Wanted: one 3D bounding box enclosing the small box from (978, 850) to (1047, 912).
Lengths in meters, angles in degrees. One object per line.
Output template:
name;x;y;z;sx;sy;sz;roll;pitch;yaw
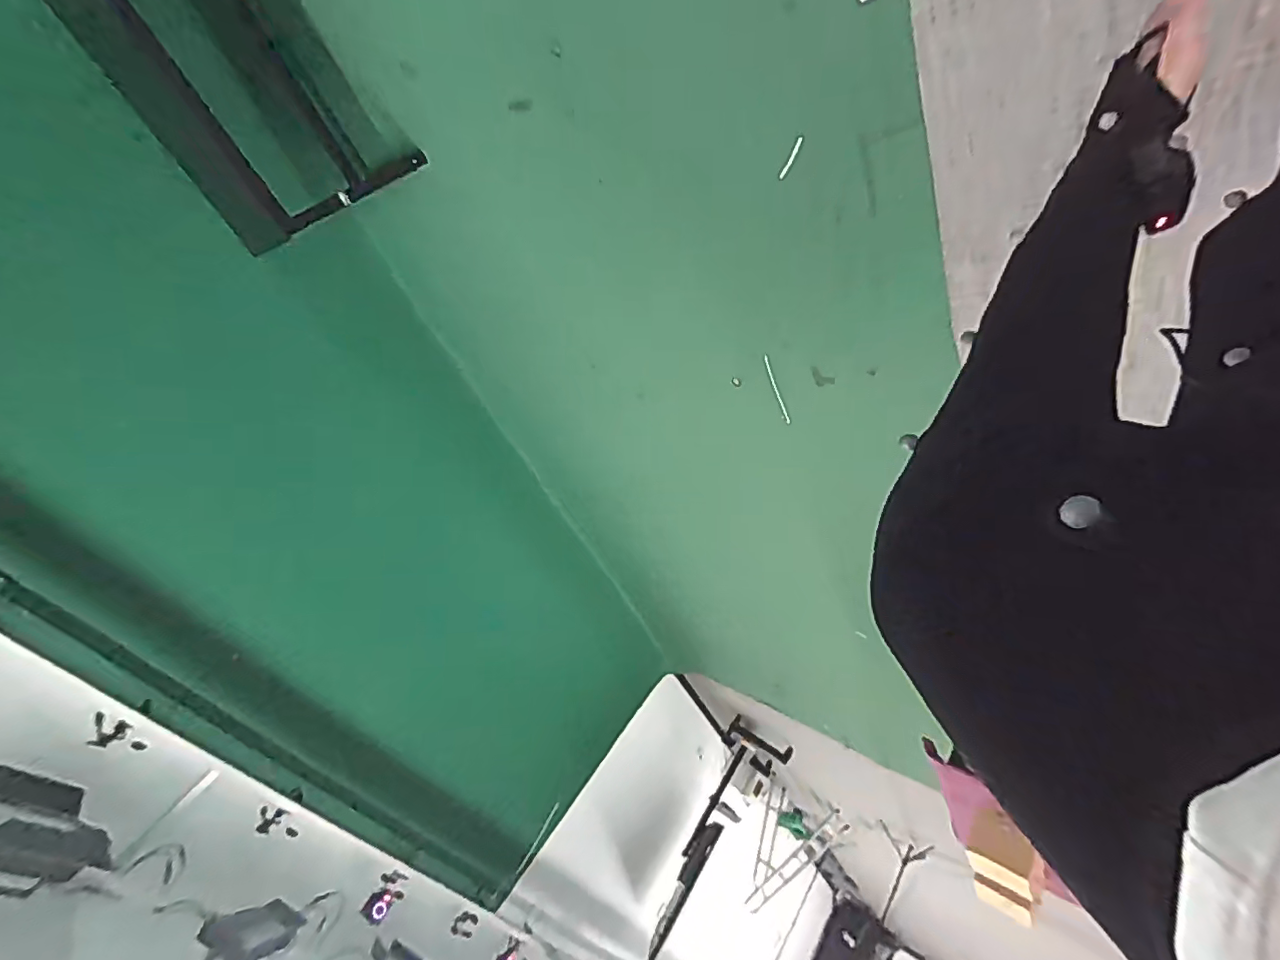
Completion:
small box;1.300;1.342;1.880;0.168;0.176;0.179;8;139;45

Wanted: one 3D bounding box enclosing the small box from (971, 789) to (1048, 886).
small box;1.171;1.123;1.709;0.168;0.176;0.179;6;138;46
